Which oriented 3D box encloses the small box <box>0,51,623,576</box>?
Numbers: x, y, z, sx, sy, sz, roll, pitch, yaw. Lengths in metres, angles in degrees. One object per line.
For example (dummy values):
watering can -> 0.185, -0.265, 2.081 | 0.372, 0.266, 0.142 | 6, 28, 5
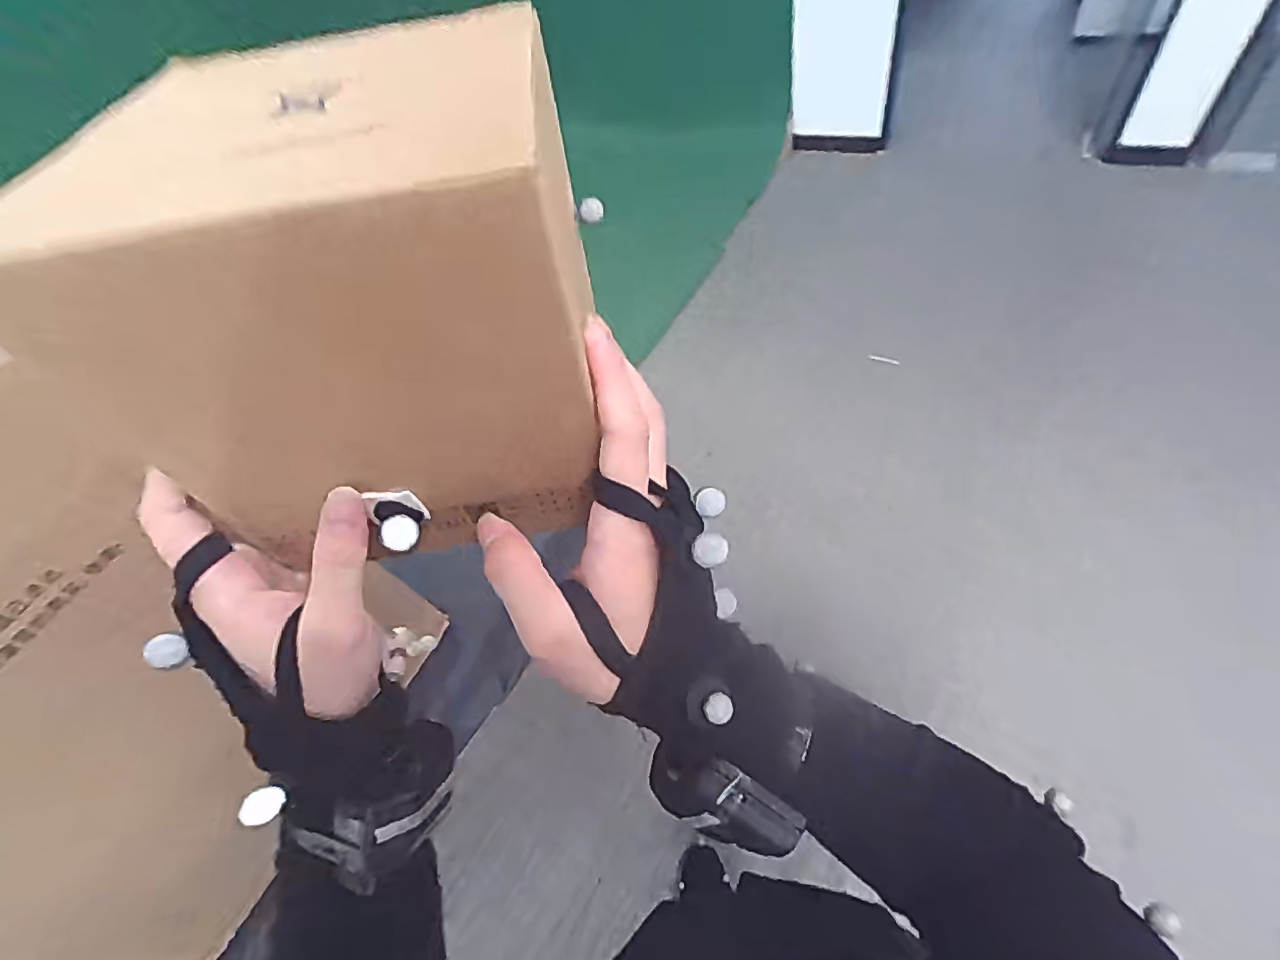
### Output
small box -> -0.107, -0.077, 0.270 | 0.168, 0.176, 0.179 | -11, 51, 1
